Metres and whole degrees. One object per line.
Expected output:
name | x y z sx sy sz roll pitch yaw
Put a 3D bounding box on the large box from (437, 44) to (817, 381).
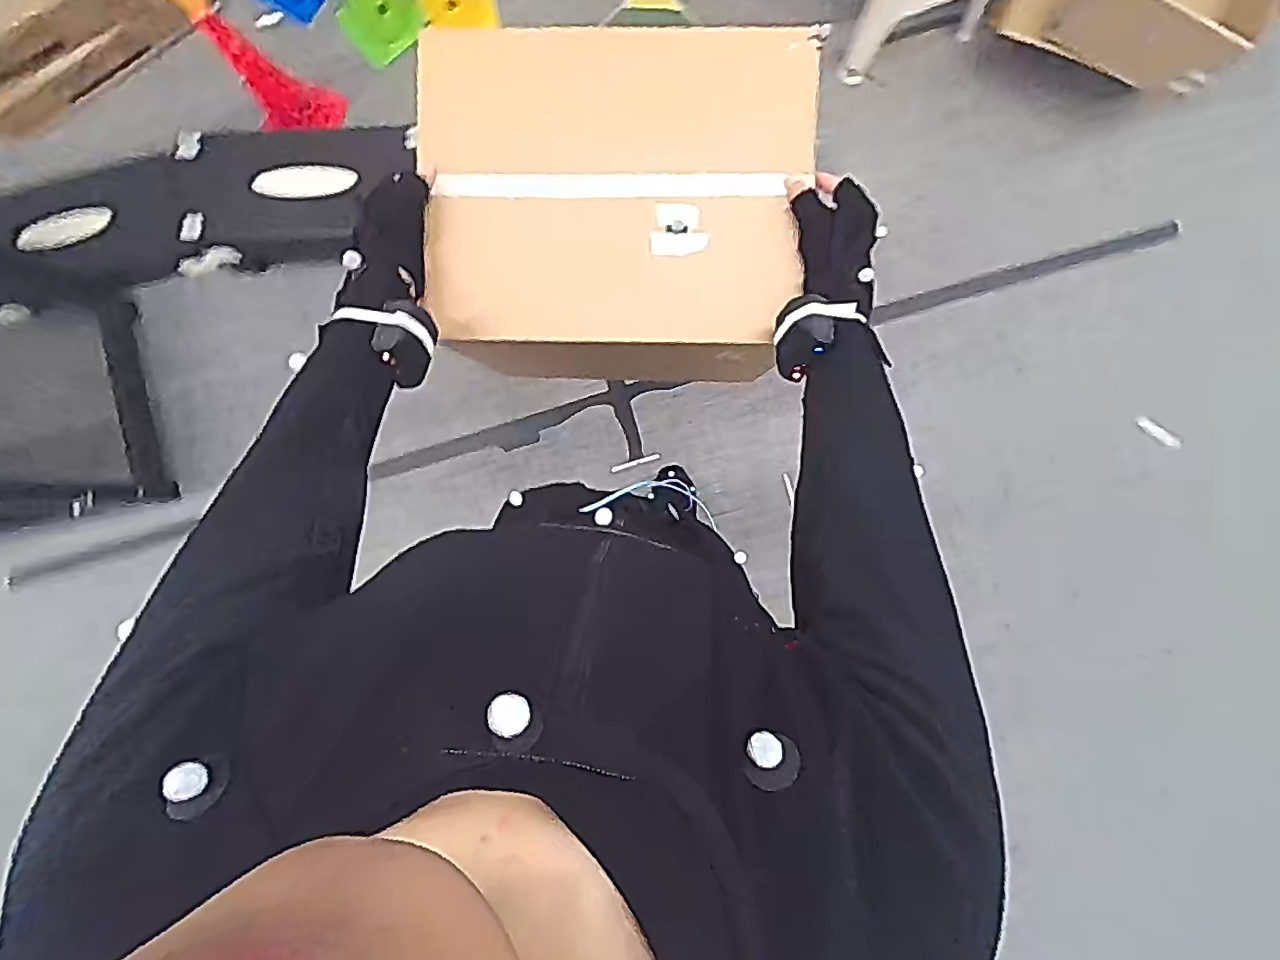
large box | -0.016 -0.307 0.718 0.408 0.320 0.320 2 93 1
